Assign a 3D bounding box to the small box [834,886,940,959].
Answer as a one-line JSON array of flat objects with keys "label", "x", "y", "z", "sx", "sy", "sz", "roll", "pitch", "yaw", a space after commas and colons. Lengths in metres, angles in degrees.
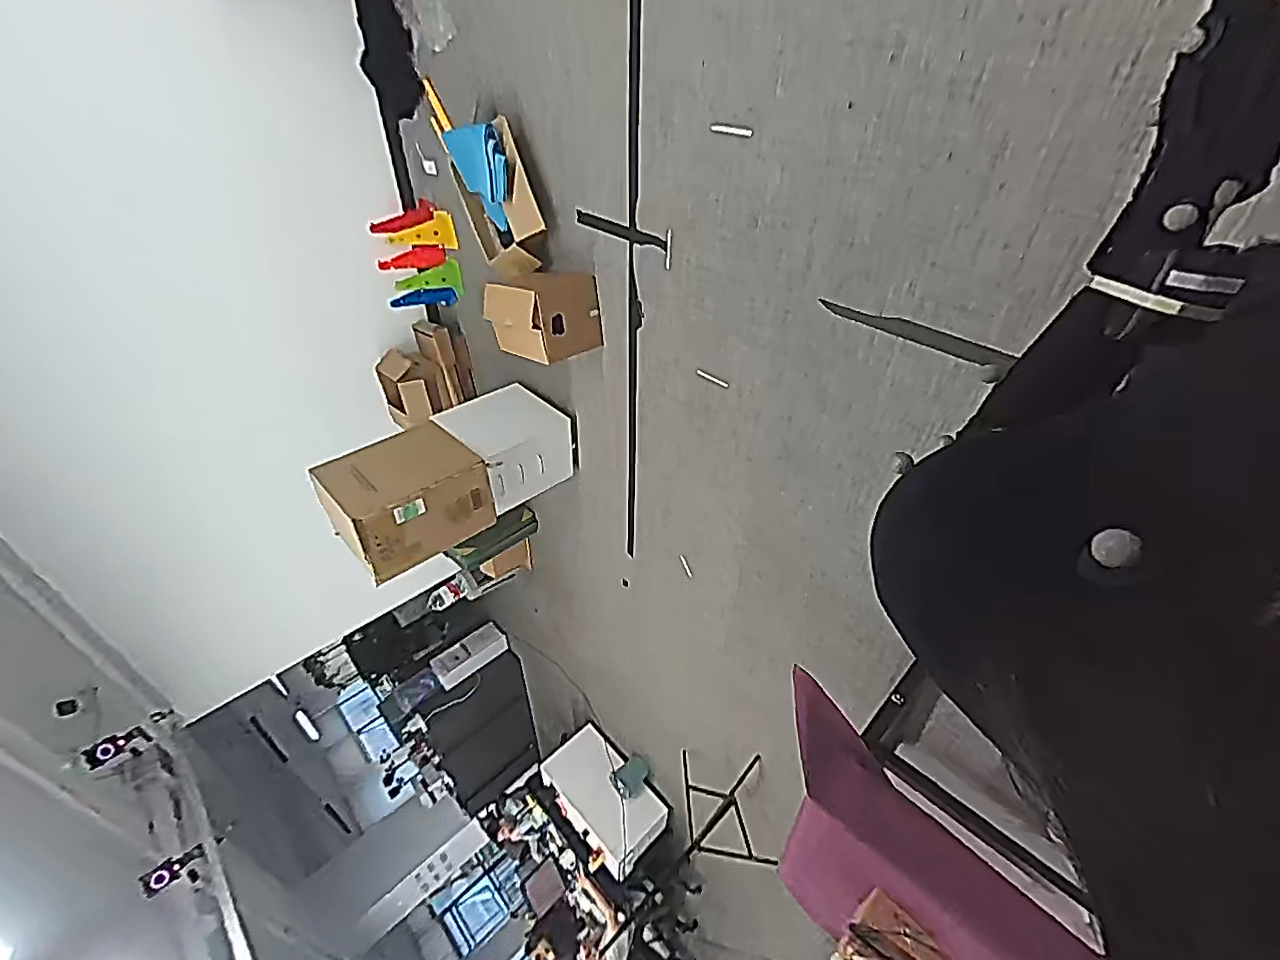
[{"label": "small box", "x": 0.623, "y": 1.181, "z": 1.361, "sx": 0.168, "sy": 0.176, "sz": 0.179, "roll": 32, "pitch": 138, "yaw": 33}]
